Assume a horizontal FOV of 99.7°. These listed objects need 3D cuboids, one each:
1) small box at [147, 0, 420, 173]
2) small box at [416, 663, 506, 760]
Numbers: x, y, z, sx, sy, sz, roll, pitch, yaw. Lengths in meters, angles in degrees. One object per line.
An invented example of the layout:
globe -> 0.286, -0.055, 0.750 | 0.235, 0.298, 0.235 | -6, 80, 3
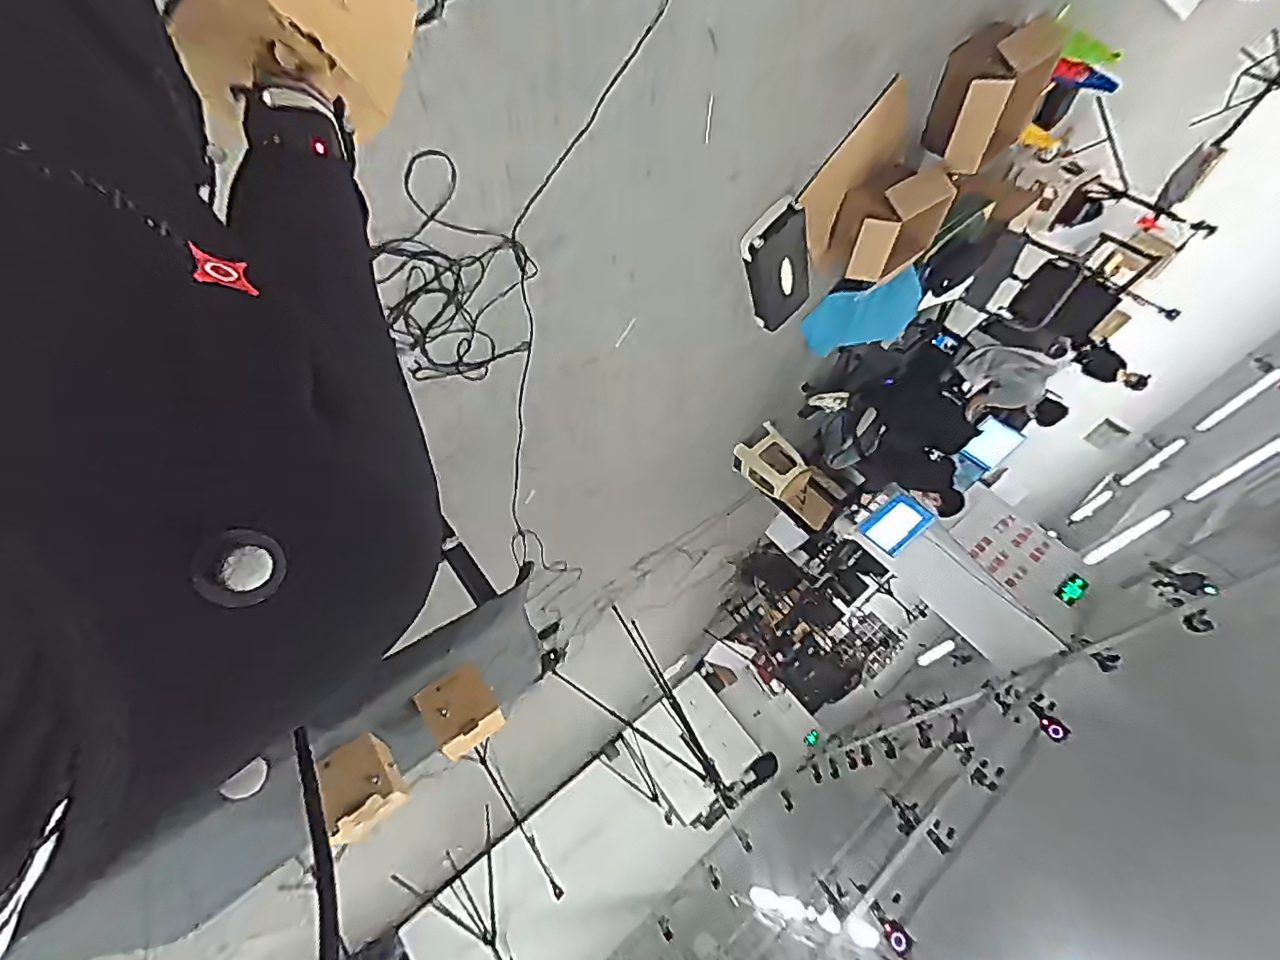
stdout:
small box -> -0.360, -0.470, 0.559 | 0.176, 0.179, 0.168 | -9, 160, 31
small box -> -0.488, 0.628, 1.480 | 0.168, 0.176, 0.179 | -30, 154, -25
